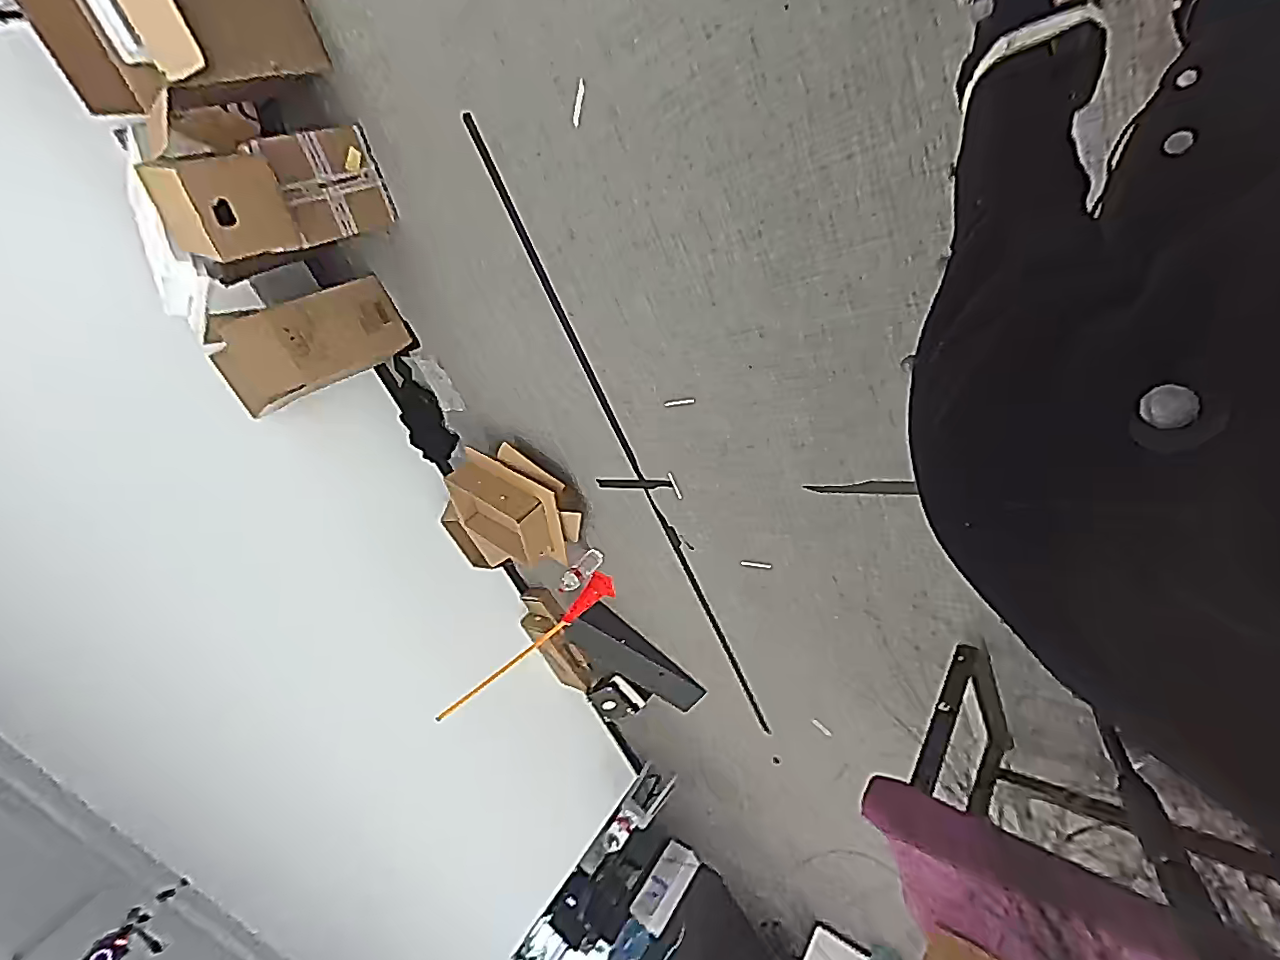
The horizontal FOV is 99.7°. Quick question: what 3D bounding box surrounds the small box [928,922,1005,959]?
[{"bbox_3d":[0.921,1.408,1.520,0.179,0.176,0.168,1,124,47],"label":"small box"}]
